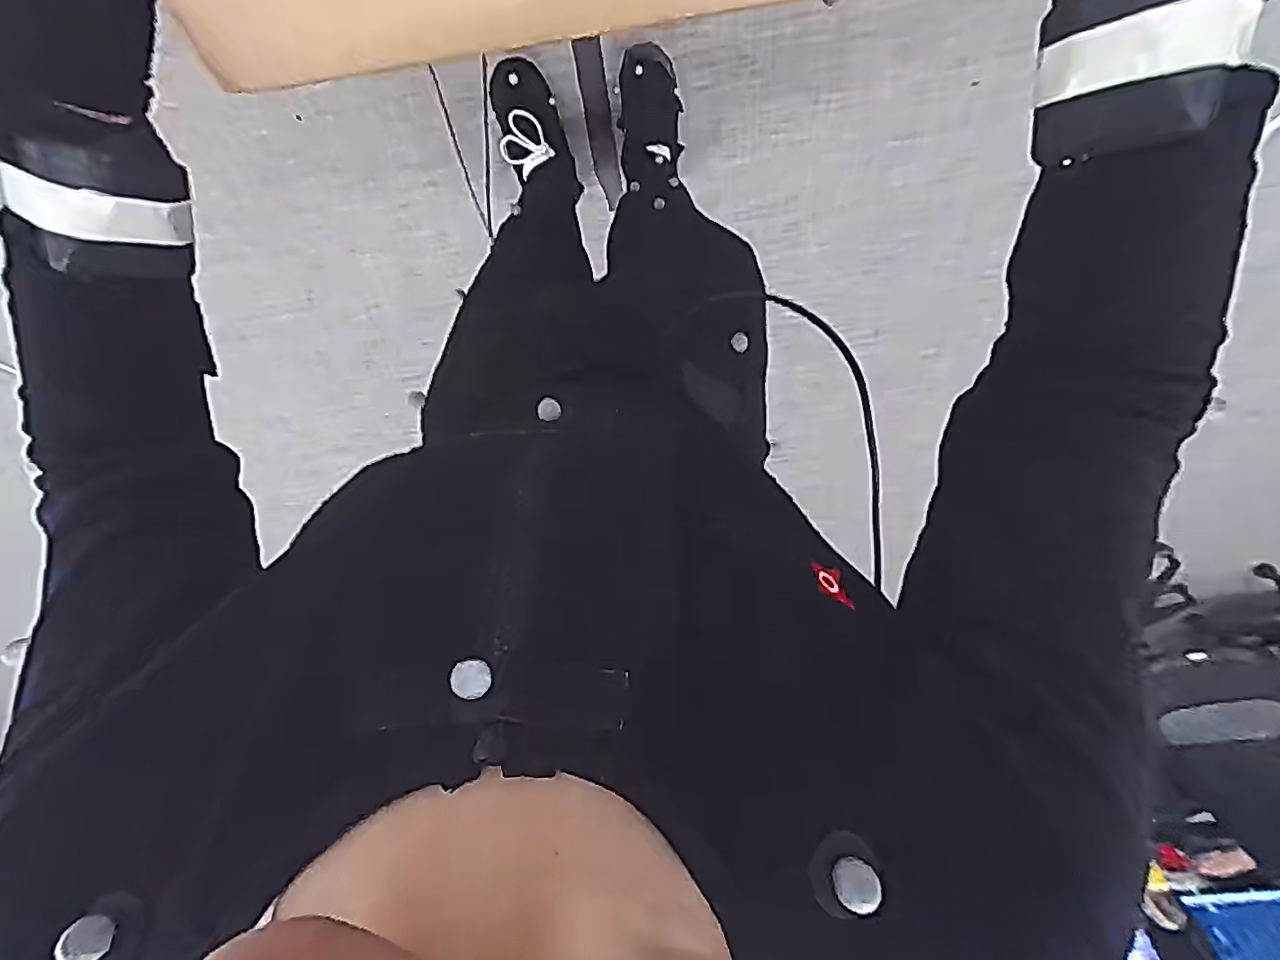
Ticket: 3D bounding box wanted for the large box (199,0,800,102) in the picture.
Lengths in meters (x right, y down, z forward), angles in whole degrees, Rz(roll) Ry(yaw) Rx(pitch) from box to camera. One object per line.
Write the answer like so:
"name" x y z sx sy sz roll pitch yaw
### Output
"large box" -0.044 -0.446 0.258 0.408 0.320 0.320 -6 141 5
